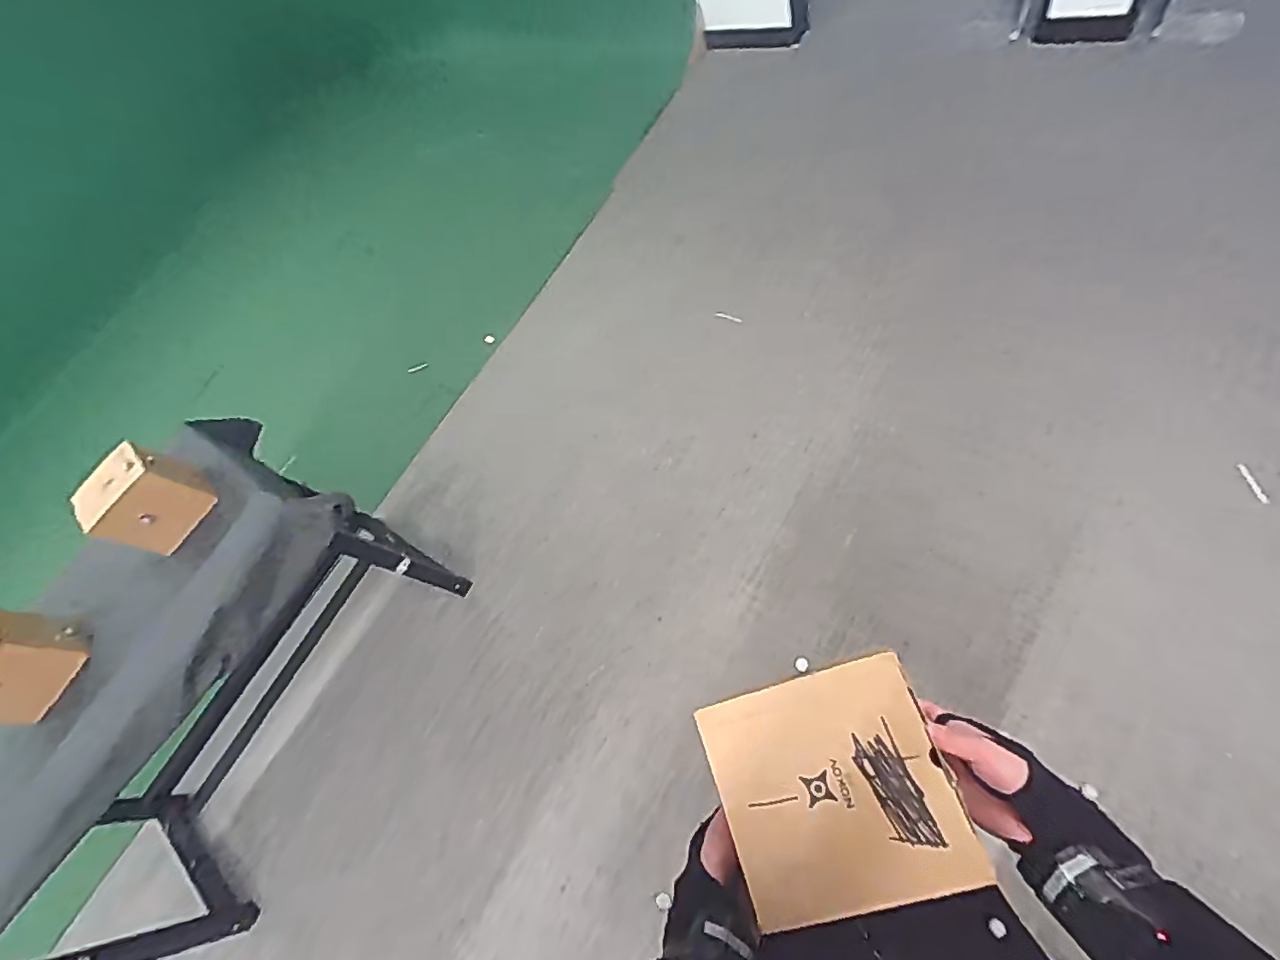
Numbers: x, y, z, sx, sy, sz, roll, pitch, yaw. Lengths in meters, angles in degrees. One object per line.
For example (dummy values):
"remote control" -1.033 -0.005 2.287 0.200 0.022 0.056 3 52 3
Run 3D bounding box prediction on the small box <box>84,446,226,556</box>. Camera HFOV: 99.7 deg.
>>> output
"small box" -1.137 0.056 1.275 0.168 0.176 0.179 32 81 30

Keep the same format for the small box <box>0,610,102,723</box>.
"small box" -1.369 0.417 1.199 0.168 0.176 0.179 25 76 28
